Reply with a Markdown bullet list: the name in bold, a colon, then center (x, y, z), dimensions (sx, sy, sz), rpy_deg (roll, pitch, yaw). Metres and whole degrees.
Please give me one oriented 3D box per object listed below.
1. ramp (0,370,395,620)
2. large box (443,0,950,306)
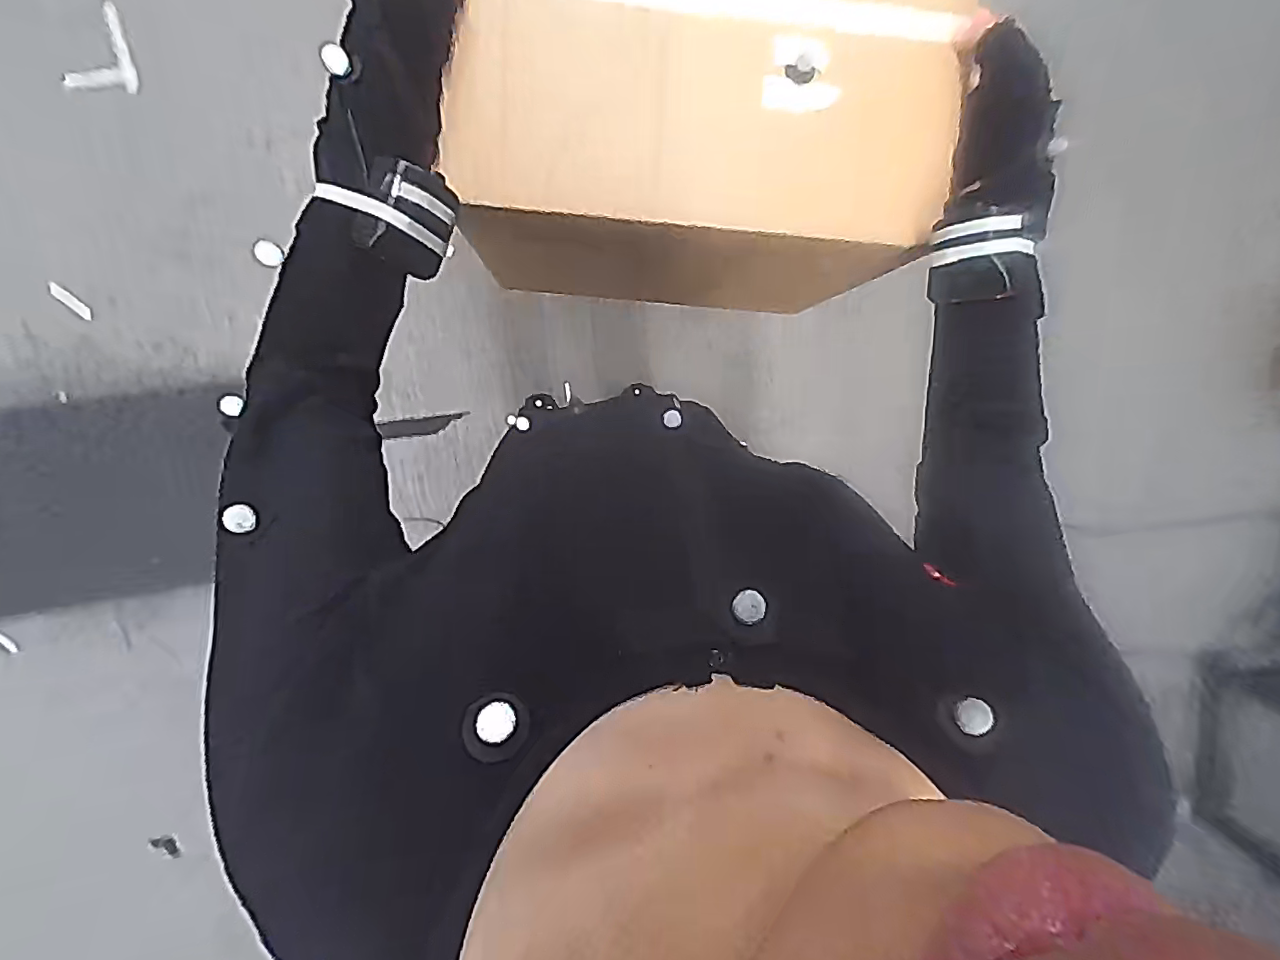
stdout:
- **ramp**: center (-1.176, 0.029, 1.329), dimensions (0.991, 0.206, 0.509), rpy_deg (-9, 99, -3)
- **large box**: center (0.034, -0.375, 0.566), dimensions (0.408, 0.320, 0.320), rpy_deg (1, 97, -6)
